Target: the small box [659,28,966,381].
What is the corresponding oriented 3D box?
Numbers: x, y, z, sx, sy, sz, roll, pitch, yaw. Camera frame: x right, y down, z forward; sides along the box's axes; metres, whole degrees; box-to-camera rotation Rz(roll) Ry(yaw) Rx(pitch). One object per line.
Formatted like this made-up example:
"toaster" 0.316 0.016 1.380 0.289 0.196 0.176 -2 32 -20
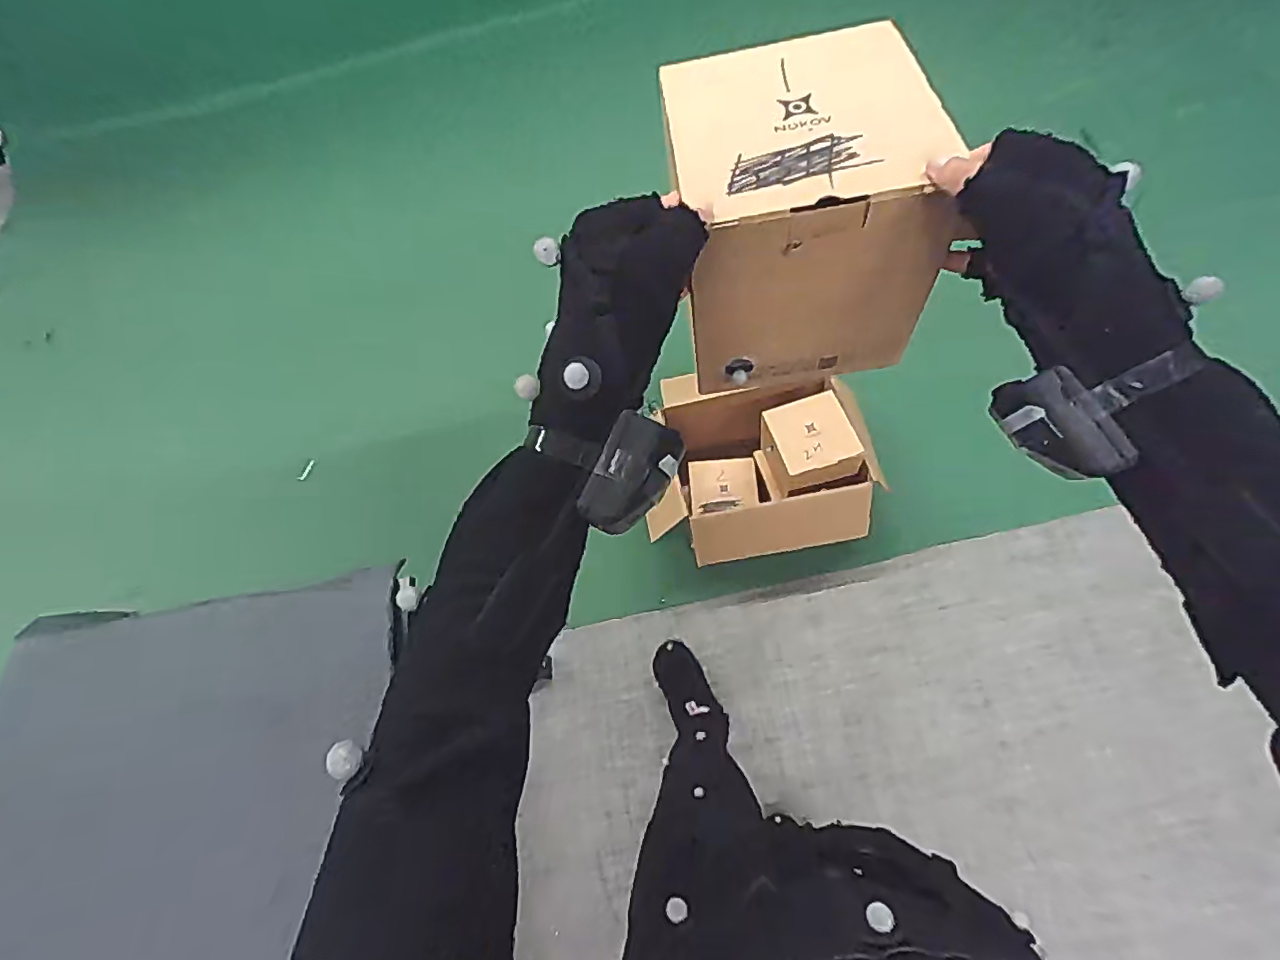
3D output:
"small box" 0.112 -0.193 0.419 0.168 0.176 0.179 -8 63 6
